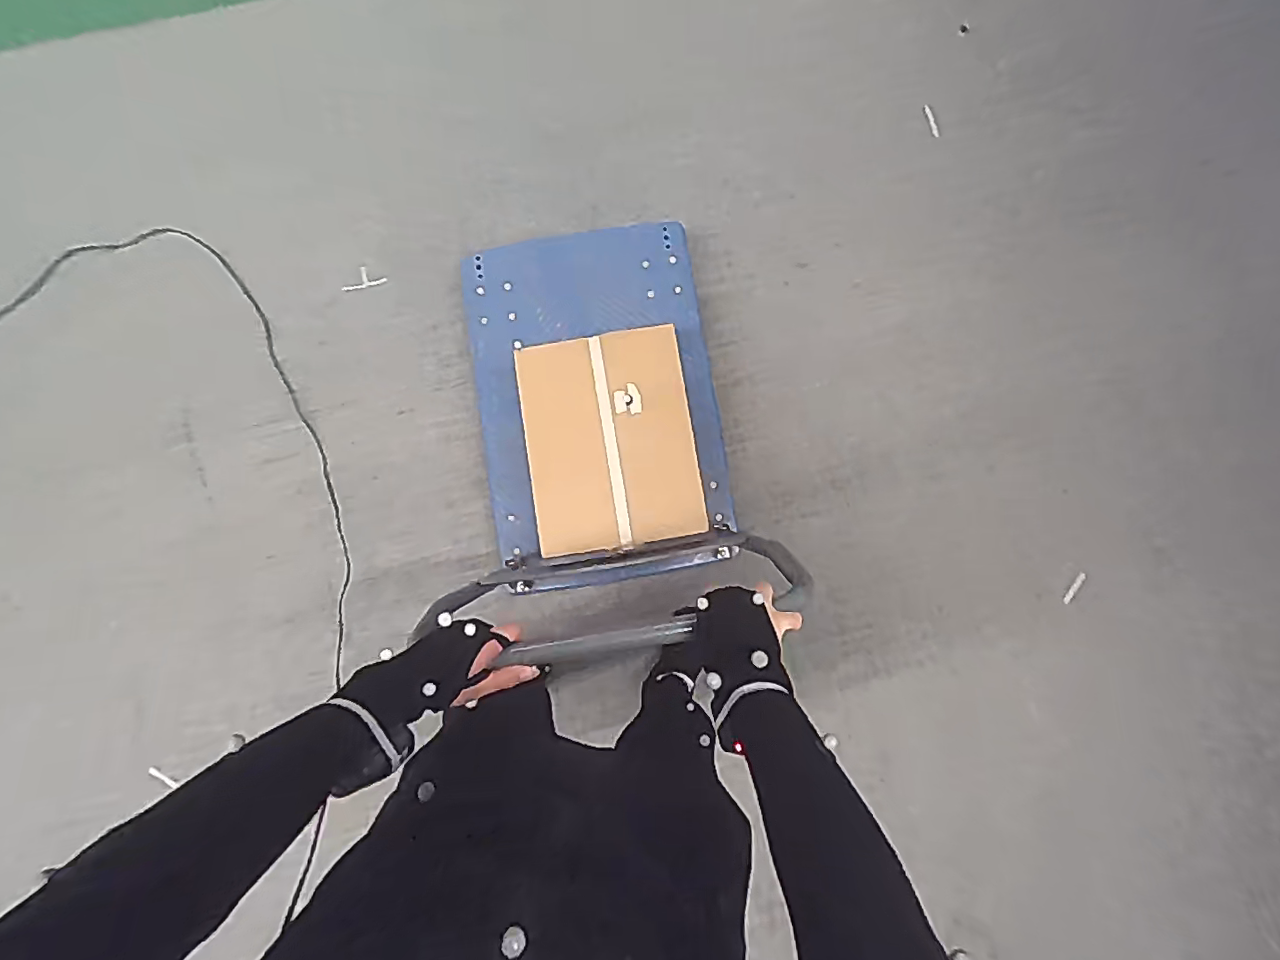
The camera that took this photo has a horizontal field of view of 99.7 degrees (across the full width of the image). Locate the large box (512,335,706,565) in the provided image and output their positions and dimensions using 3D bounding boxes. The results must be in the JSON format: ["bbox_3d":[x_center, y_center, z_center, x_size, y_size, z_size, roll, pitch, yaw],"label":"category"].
[{"bbox_3d":[-0.061,-0.043,1.170,0.320,0.320,0.408,-10,82,-2],"label":"large box"}]
